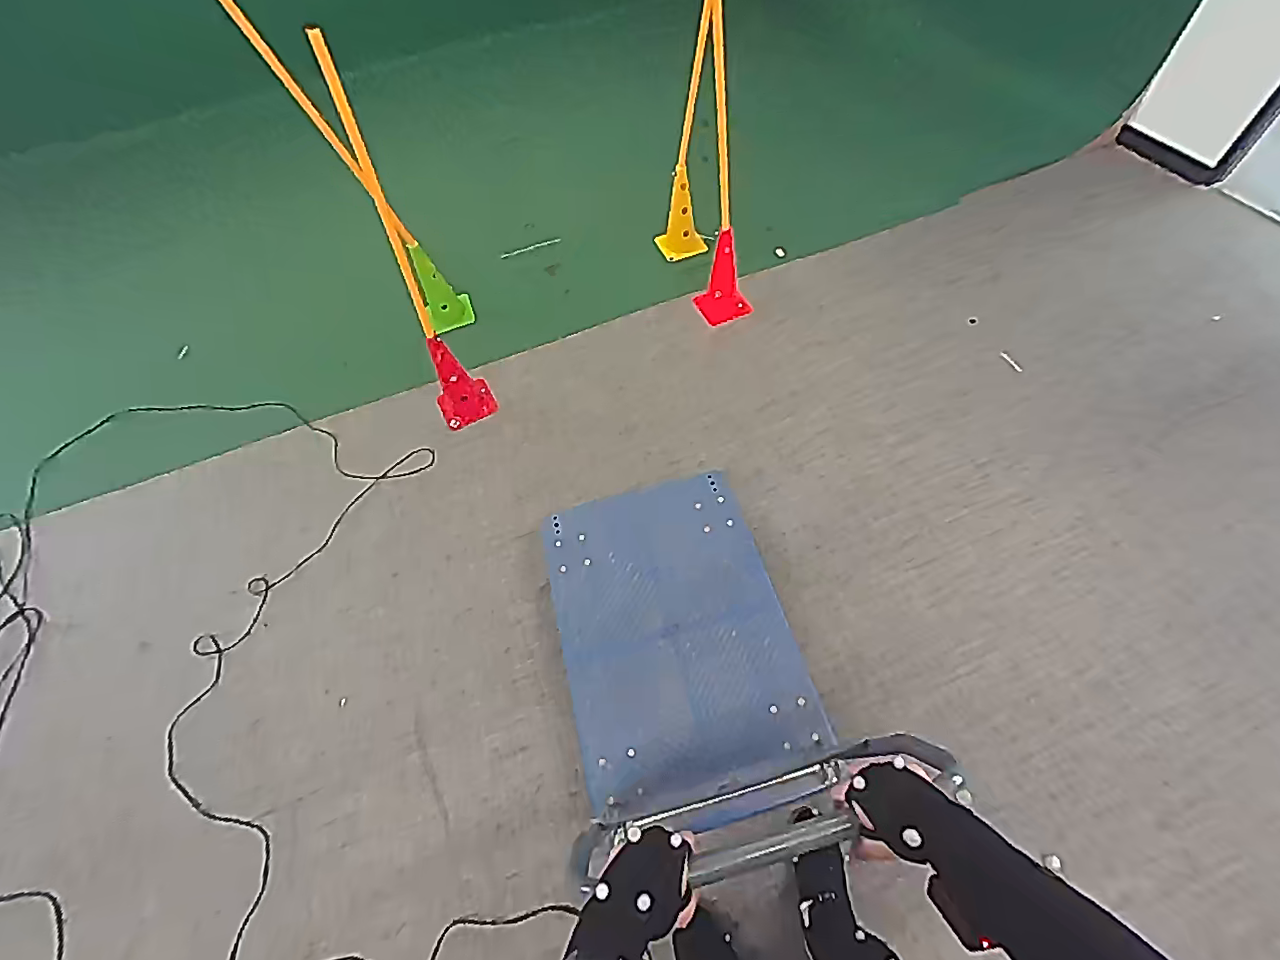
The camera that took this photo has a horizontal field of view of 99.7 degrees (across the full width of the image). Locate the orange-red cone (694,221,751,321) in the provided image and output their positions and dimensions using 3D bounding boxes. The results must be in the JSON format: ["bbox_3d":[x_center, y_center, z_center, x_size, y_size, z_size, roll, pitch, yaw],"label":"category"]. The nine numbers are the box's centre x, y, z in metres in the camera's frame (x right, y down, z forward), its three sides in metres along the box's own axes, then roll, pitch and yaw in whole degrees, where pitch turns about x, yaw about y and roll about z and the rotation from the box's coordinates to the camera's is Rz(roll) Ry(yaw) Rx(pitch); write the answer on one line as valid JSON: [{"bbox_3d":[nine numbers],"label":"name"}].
[{"bbox_3d":[0.327,-0.838,2.114,0.198,0.360,0.199,-20,57,-8],"label":"orange-red cone"}]

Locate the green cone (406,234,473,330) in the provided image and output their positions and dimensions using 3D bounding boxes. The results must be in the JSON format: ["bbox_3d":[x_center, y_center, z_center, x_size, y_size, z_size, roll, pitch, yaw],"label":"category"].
[{"bbox_3d":[-0.857,-0.837,2.225,0.200,0.368,0.202,-21,58,-7],"label":"green cone"}]
